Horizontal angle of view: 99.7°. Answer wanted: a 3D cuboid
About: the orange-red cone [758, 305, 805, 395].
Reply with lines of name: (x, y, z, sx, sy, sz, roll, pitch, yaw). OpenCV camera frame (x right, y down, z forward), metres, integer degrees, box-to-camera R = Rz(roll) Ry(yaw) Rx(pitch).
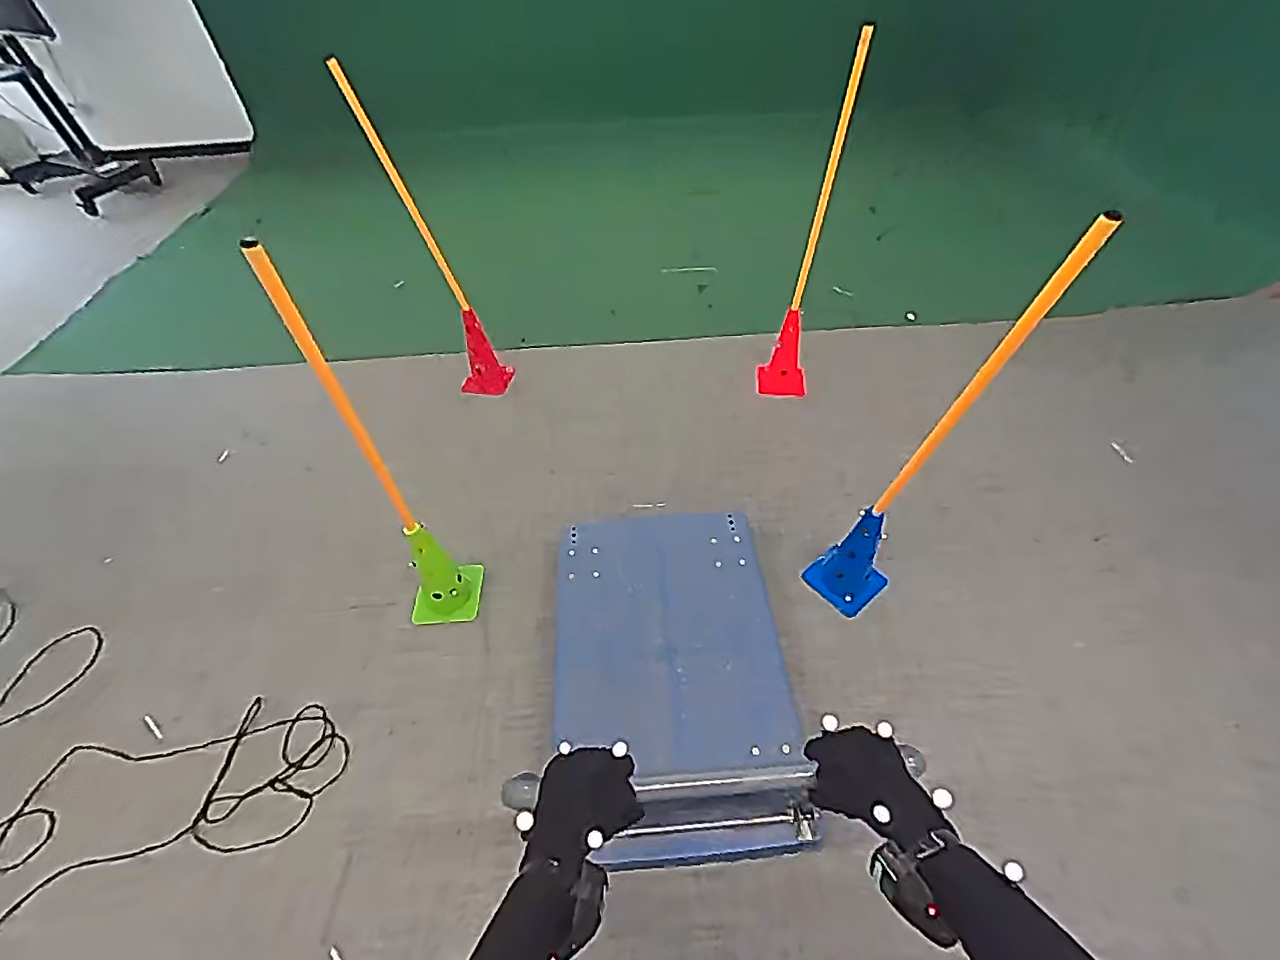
orange-red cone: (0.601, -0.544, 2.205, 0.198, 0.360, 0.199, 5, 50, 8)
